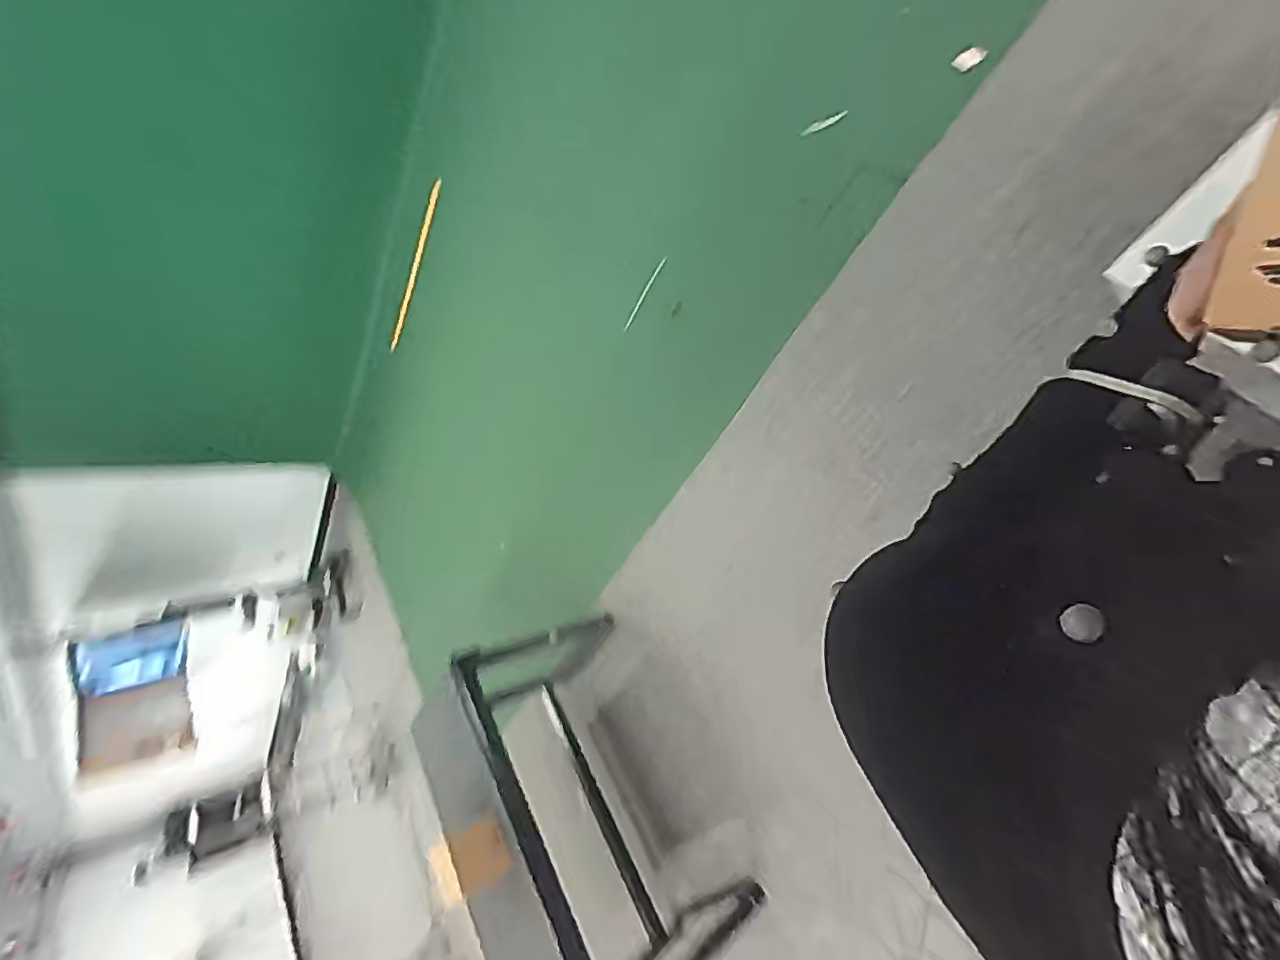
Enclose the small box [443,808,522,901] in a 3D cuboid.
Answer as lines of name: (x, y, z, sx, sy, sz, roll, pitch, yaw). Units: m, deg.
small box: (-0.492, 1.169, 1.694, 0.179, 0.176, 0.168, -53, 57, 36)
